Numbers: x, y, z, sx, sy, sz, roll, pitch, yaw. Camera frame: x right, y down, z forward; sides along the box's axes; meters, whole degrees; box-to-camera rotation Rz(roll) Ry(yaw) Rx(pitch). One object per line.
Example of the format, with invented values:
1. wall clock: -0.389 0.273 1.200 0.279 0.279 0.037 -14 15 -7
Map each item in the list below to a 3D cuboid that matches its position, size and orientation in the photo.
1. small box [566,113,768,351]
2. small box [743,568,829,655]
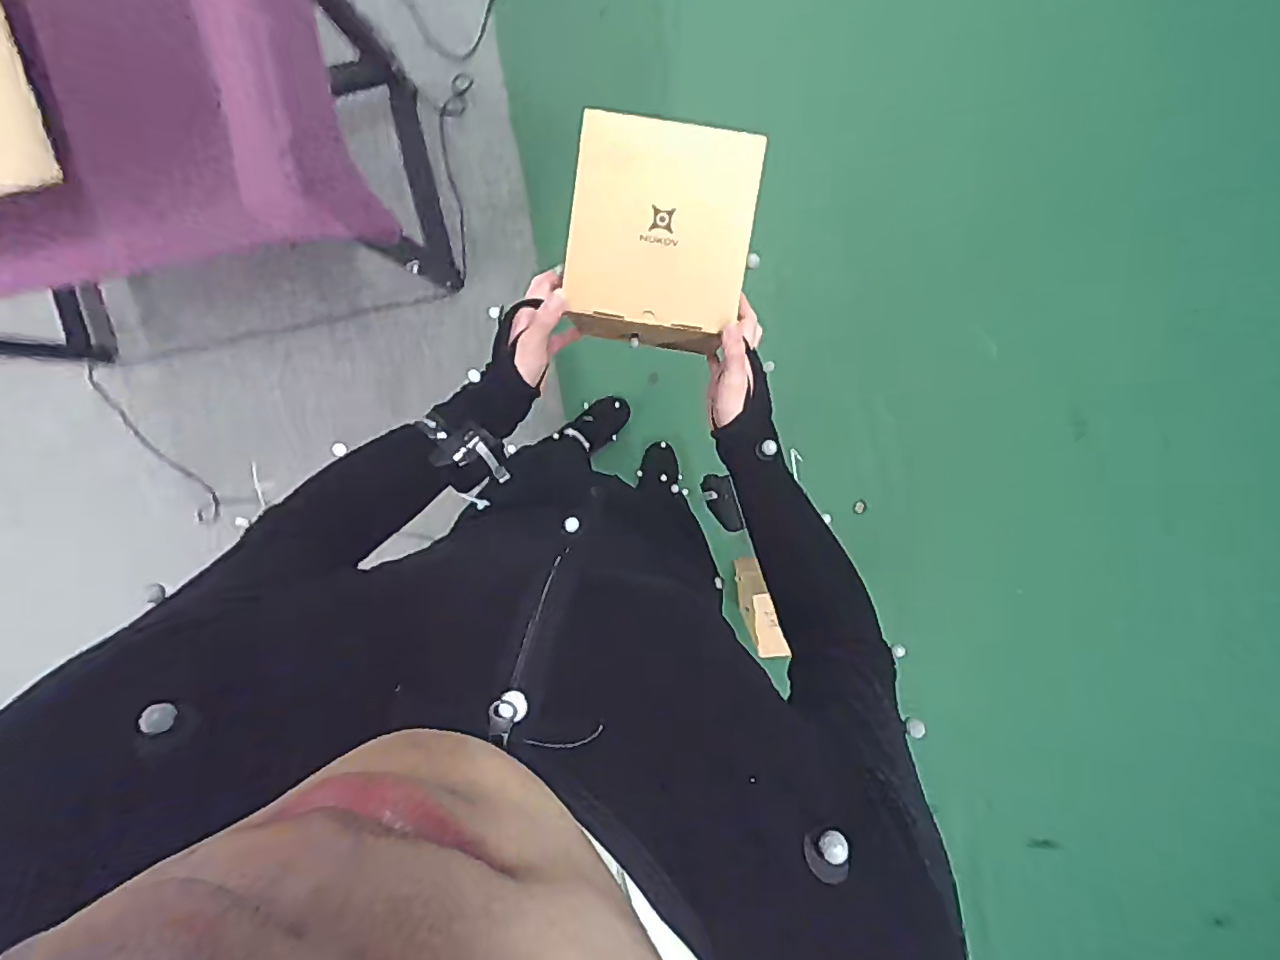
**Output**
1. small box: 0.022 -0.240 0.567 0.168 0.176 0.179 7 99 -1
2. small box: 0.376 0.336 1.409 0.179 0.176 0.168 -7 97 3
